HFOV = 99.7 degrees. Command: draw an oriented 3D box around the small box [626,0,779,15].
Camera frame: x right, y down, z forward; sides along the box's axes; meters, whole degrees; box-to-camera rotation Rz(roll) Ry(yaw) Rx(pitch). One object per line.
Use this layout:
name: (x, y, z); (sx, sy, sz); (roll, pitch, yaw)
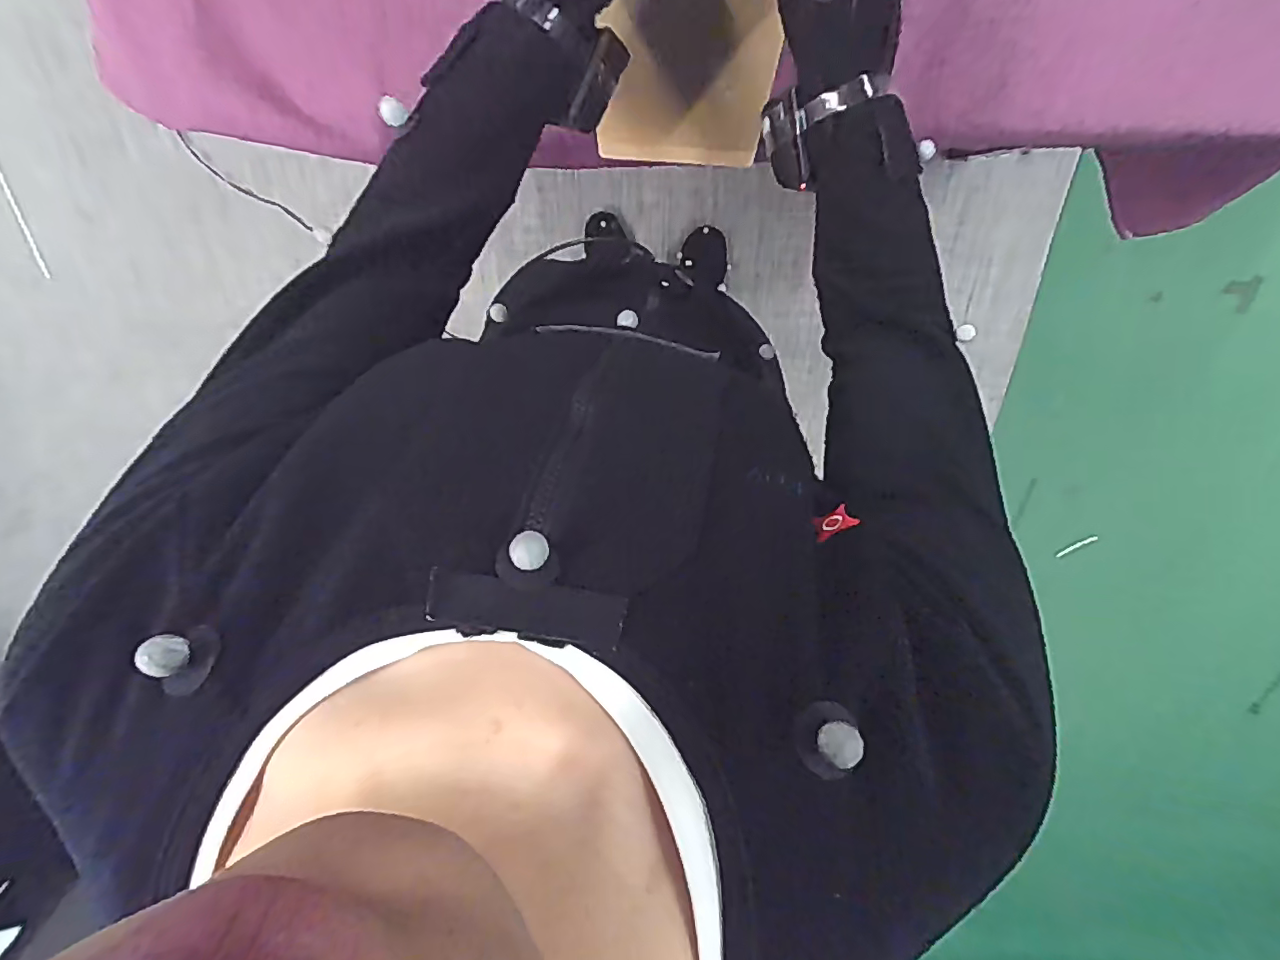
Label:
small box: (0.049, -0.488, 0.410); (0.168, 0.176, 0.179); (5, 117, 2)
